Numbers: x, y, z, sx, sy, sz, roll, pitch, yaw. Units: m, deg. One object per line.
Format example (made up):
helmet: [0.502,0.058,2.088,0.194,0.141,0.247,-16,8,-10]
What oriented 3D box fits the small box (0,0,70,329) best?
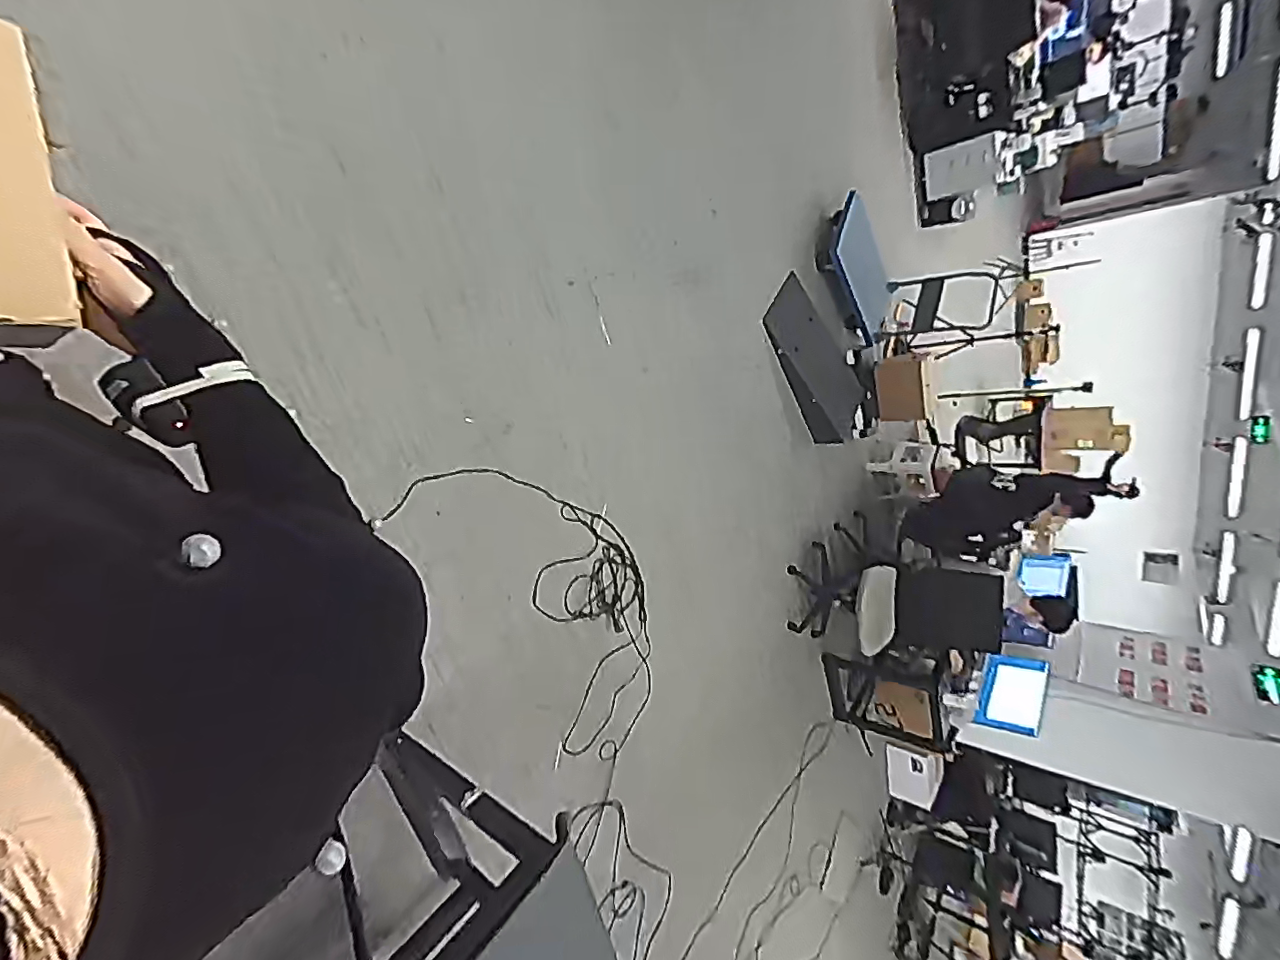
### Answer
small box: [-0.471,-0.188,0.308,0.168,0.176,0.179,-15,106,-51]
